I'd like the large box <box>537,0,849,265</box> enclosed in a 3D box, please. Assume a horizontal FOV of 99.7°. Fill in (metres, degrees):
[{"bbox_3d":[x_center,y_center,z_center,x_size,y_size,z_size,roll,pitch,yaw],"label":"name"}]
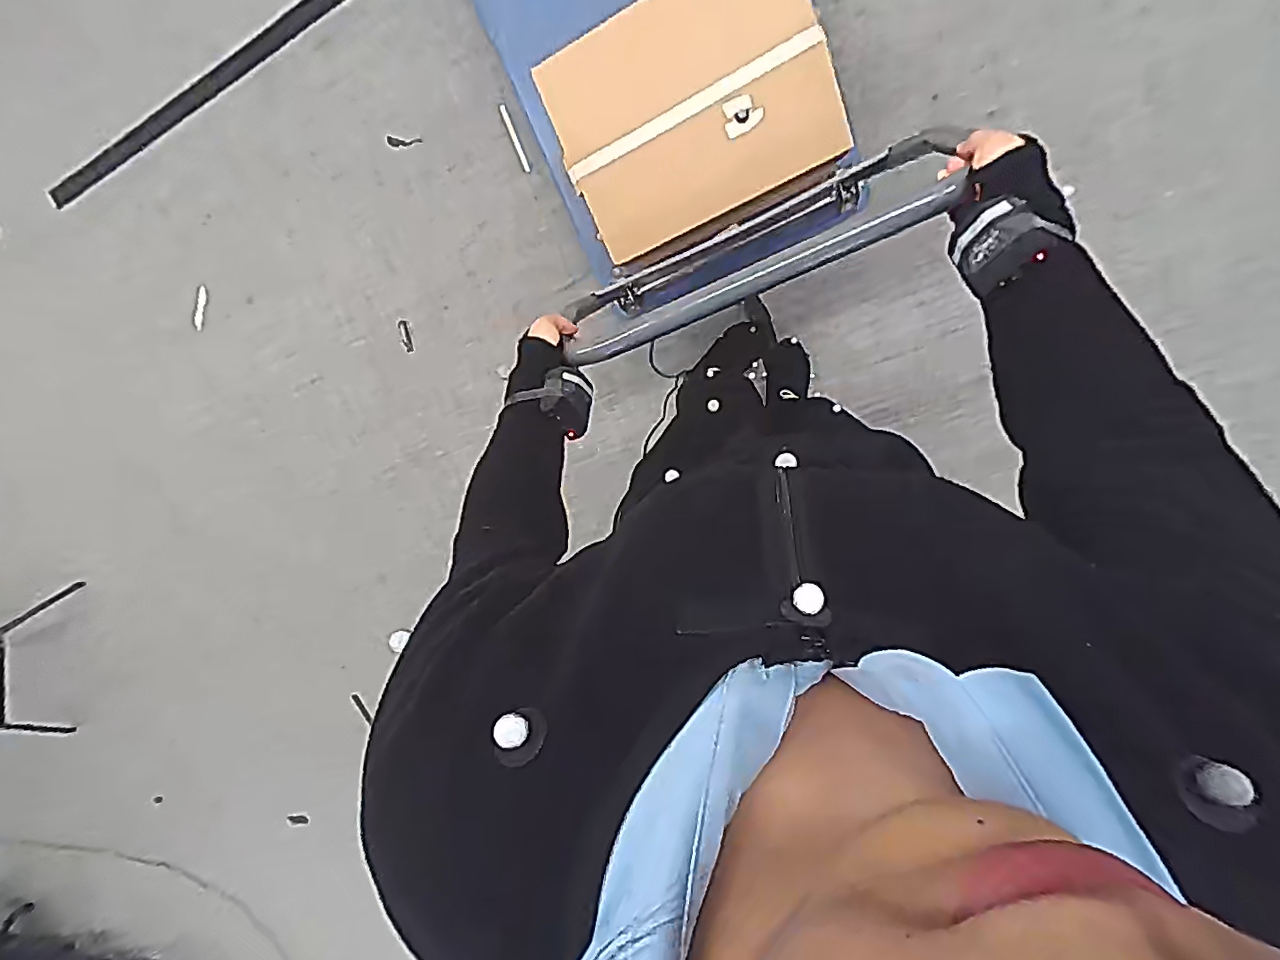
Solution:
[{"bbox_3d":[0.095,-0.622,0.963,0.408,0.320,0.320,-21,107,15],"label":"large box"}]
